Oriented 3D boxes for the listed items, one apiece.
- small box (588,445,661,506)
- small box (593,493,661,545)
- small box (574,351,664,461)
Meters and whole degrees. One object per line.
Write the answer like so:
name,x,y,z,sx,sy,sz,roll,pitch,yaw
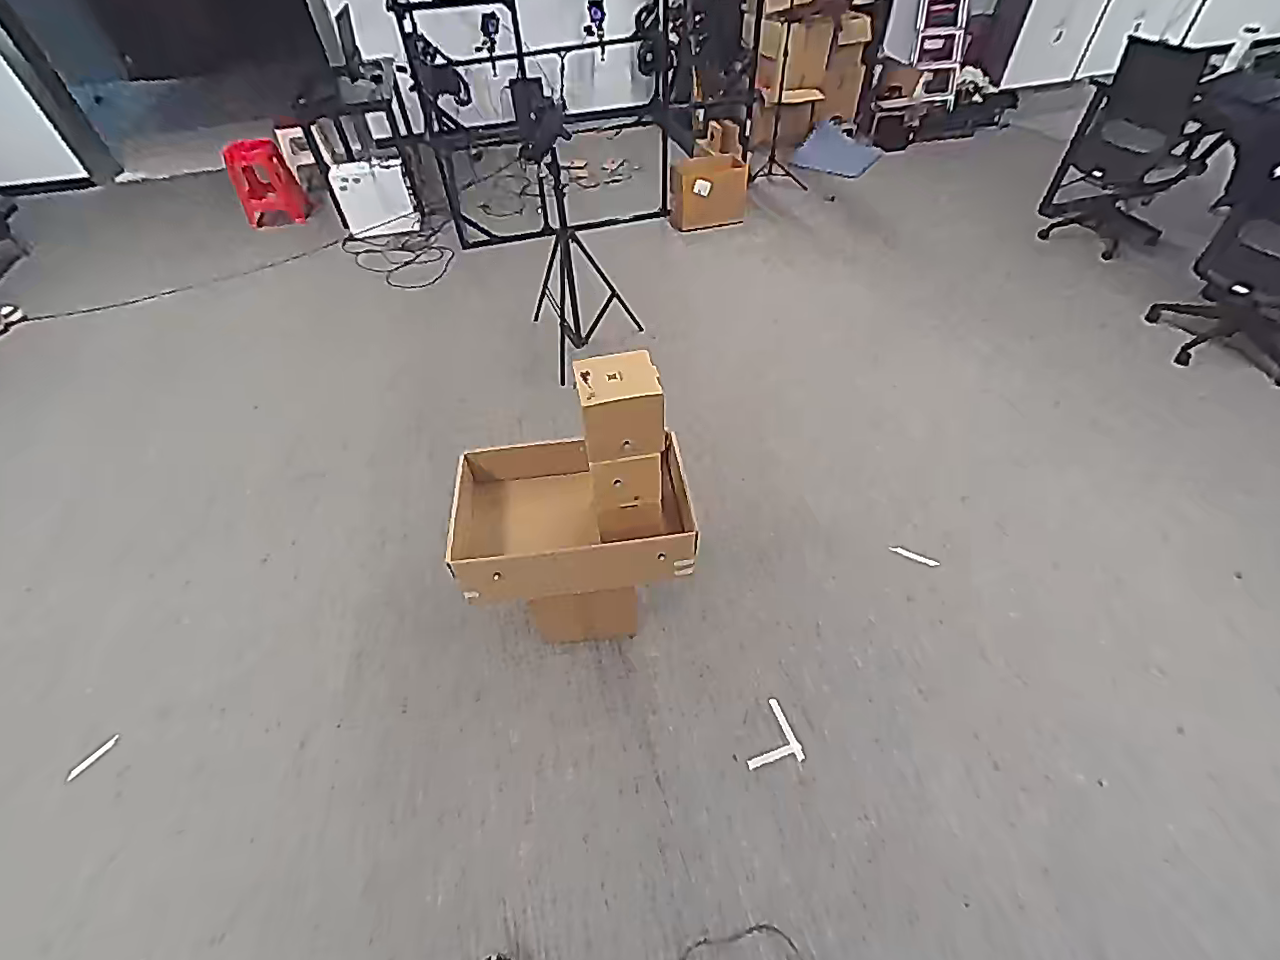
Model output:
small box,-0.043,-0.051,1.332,0.168,0.176,0.179,-8,47,-5
small box,-0.037,0.060,1.450,0.168,0.176,0.179,-9,47,-5
small box,-0.048,-0.165,1.214,0.179,0.176,0.168,-10,47,-6
